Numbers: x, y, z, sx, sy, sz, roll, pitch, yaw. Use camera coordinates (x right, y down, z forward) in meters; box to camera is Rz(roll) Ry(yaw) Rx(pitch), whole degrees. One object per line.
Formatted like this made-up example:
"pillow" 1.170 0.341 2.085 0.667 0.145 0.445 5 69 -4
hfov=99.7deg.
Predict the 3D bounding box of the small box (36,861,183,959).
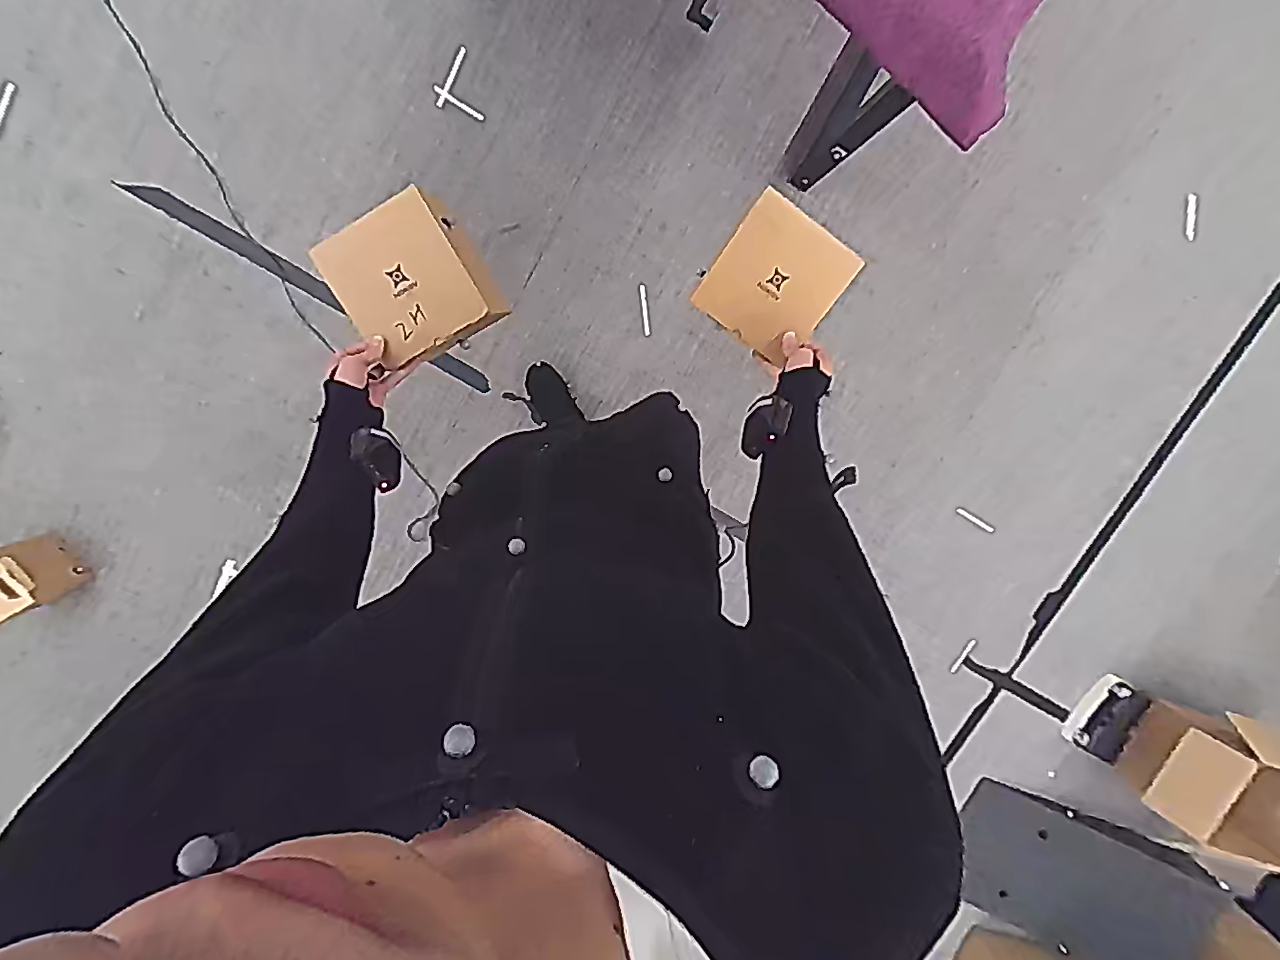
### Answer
"small box" -1.217 1.037 1.244 0.168 0.176 0.179 38 100 -13

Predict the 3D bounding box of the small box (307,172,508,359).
"small box" -0.311 -0.291 0.764 0.168 0.176 0.179 -27 107 7

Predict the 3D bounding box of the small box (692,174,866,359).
"small box" 0.187 -0.307 0.791 0.168 0.176 0.179 34 111 -8

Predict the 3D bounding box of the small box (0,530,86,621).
"small box" -1.681 0.259 1.467 0.179 0.176 0.168 -29 103 2
